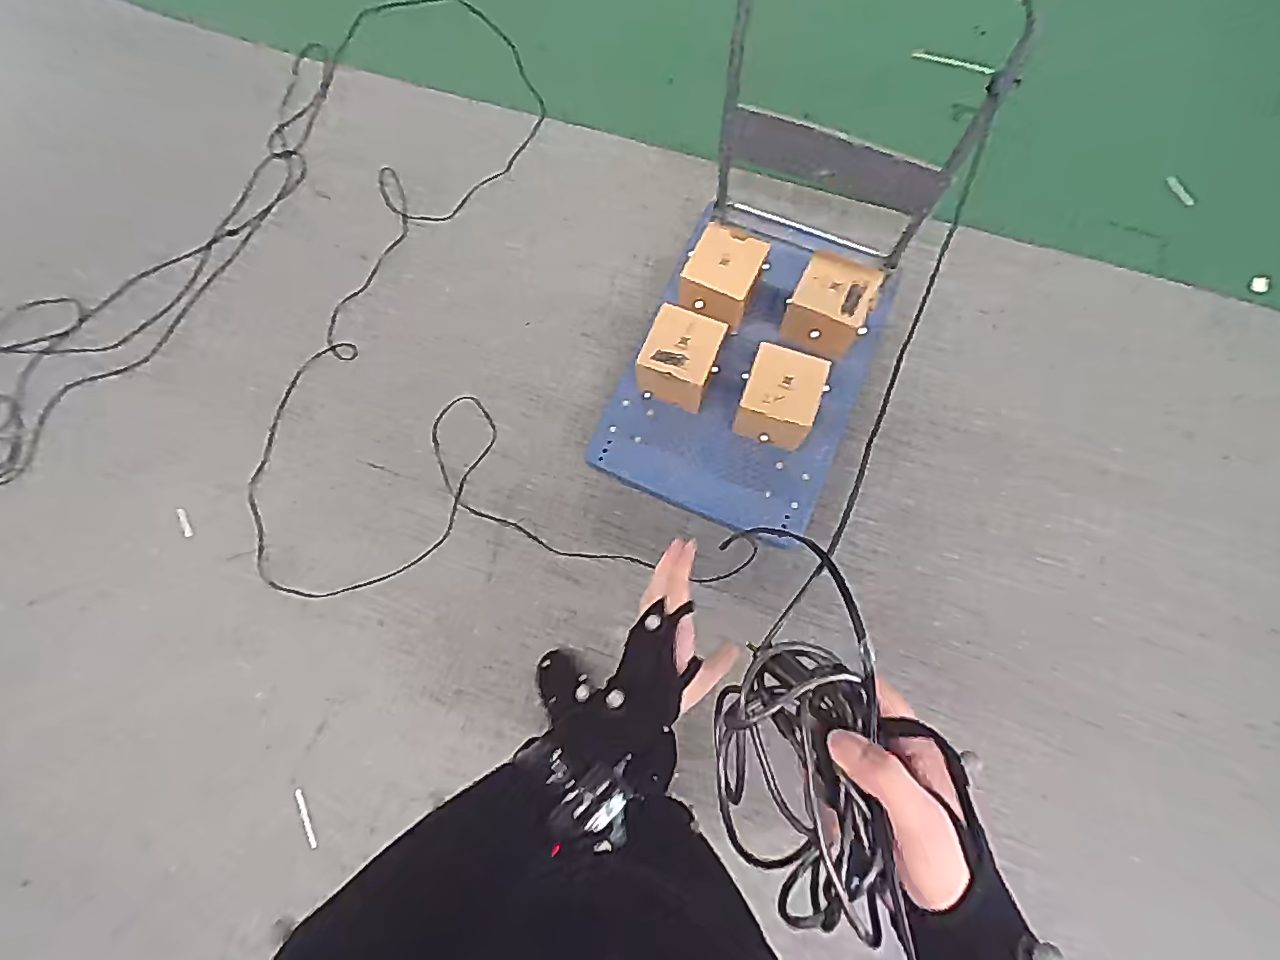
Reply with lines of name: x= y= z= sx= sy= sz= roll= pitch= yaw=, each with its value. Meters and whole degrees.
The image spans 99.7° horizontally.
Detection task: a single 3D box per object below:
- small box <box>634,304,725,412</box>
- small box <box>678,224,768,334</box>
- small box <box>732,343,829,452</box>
small box: x=0.096 y=-0.291 z=1.329 sx=0.168 sy=0.176 sz=0.179 roll=22 pitch=76 yaw=7
small box: x=0.206 y=-0.506 z=1.386 sx=0.168 sy=0.176 sz=0.179 roll=25 pitch=76 yaw=8
small box: x=0.328 y=-0.191 z=1.295 sx=0.168 sy=0.176 sz=0.179 roll=20 pitch=76 yaw=7
